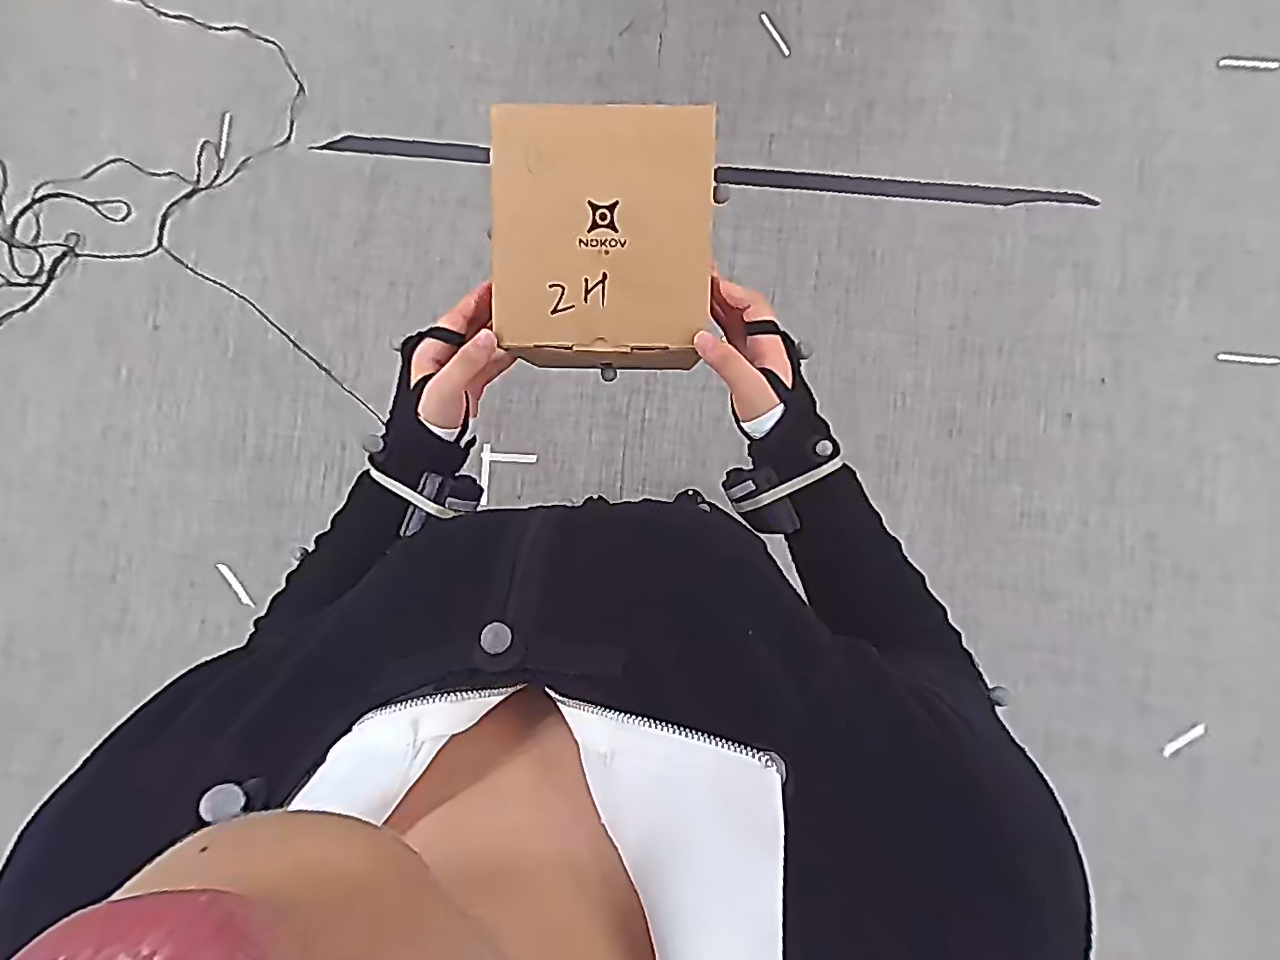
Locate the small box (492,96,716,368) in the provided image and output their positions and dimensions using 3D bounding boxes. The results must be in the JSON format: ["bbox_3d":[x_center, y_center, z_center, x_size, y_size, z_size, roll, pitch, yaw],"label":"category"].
[{"bbox_3d":[-0.028,-0.200,0.482,0.168,0.176,0.179,1,96,1],"label":"small box"}]

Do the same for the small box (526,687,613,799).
[{"bbox_3d":[-0.163,0.628,1.309,0.168,0.176,0.179,9,88,3],"label":"small box"}]
